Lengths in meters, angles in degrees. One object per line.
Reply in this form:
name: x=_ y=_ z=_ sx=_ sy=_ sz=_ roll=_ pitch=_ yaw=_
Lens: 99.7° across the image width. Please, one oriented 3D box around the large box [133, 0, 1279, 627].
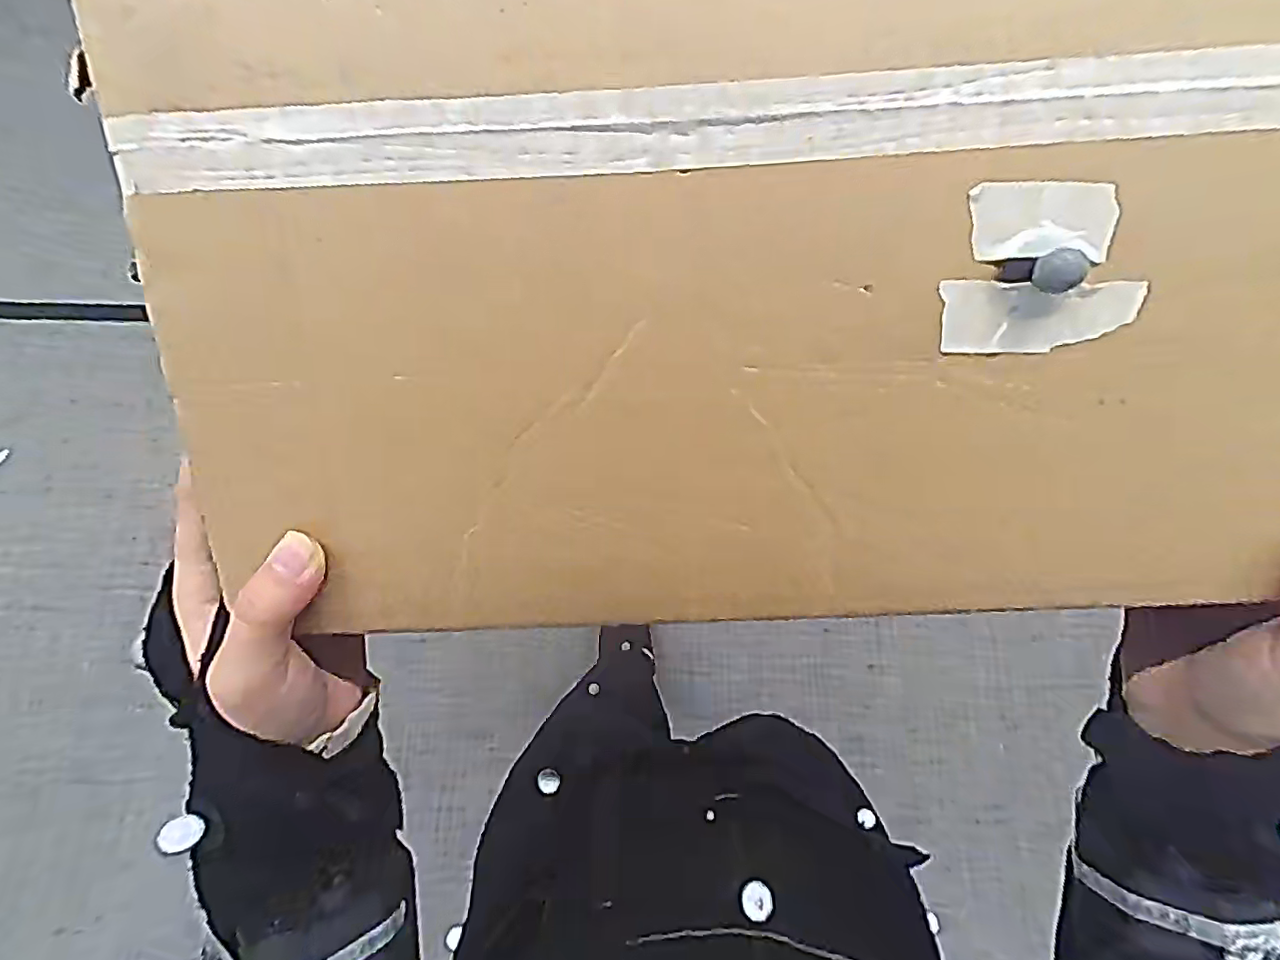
large box: x=0.046 y=-0.137 z=0.315 sx=0.408 sy=0.320 sz=0.320 roll=-3 pitch=103 yaw=0
